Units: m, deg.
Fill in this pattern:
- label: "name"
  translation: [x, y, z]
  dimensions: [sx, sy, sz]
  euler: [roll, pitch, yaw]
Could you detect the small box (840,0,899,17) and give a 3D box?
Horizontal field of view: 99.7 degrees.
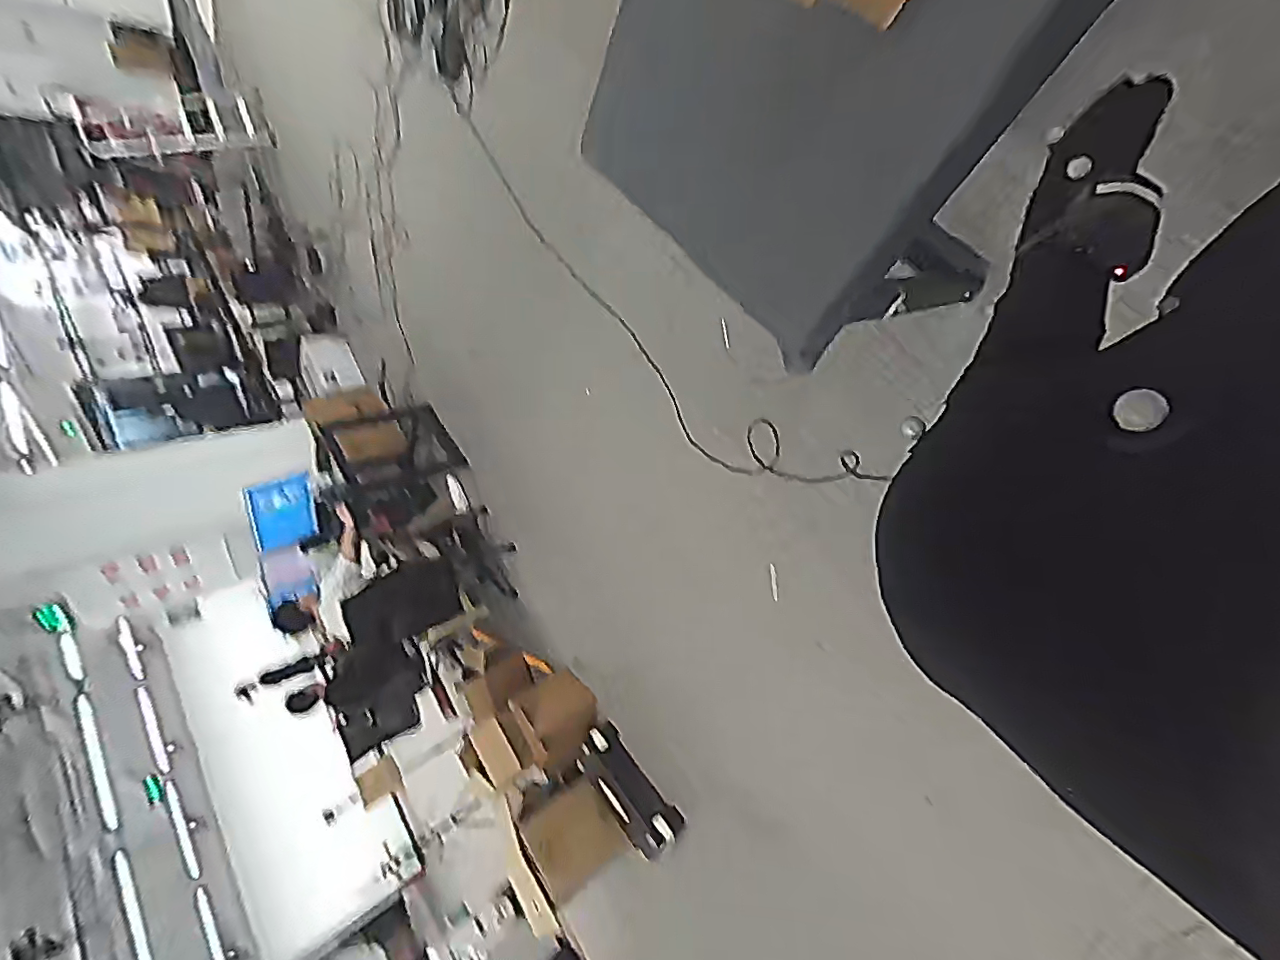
- label: "small box"
  translation: [0.216, -0.610, 0.533]
  dimensions: [0.168, 0.176, 0.179]
  euler: [56, 140, 17]
